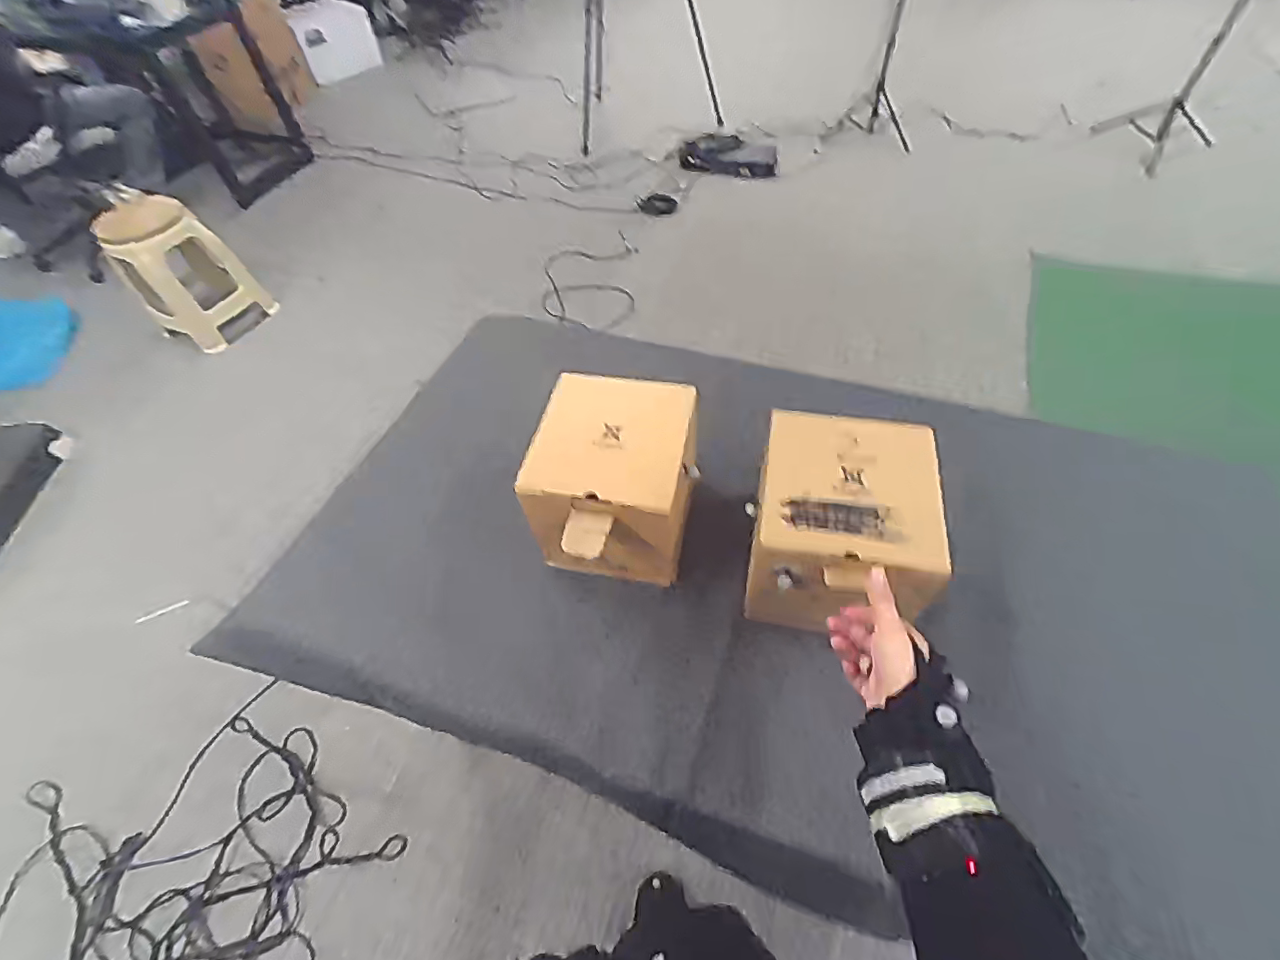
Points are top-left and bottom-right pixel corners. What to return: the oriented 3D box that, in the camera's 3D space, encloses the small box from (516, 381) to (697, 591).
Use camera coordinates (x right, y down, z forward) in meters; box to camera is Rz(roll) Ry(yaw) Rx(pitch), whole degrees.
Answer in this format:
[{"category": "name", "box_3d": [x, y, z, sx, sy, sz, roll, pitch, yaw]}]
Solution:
[{"category": "small box", "box_3d": [-0.028, 0.009, 0.650, 0.168, 0.176, 0.179, 7, 54, 10]}]
